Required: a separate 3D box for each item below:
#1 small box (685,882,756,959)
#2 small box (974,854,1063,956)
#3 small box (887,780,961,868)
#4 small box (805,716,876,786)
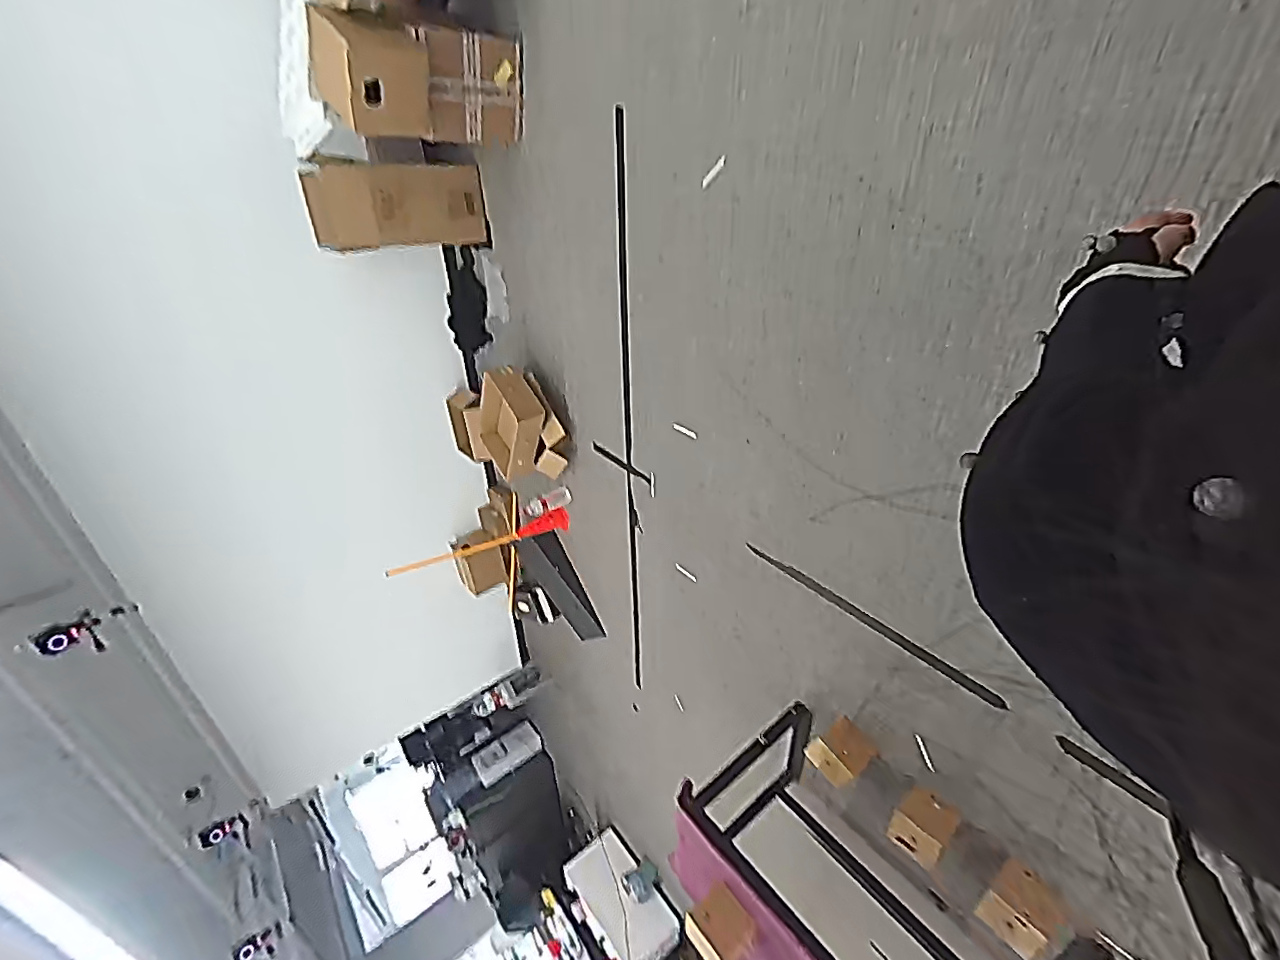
[{"bbox_3d":[0.284,1.579,1.920,0.179,0.176,0.168,33,136,40],"label":"small box"},{"bbox_3d":[1.242,1.387,1.771,0.168,0.176,0.179,33,136,41],"label":"small box"},{"bbox_3d":[1.041,1.253,1.977,0.168,0.176,0.179,31,133,42],"label":"small box"},{"bbox_3d":[0.817,1.097,2.207,0.179,0.176,0.168,45,142,28],"label":"small box"}]
